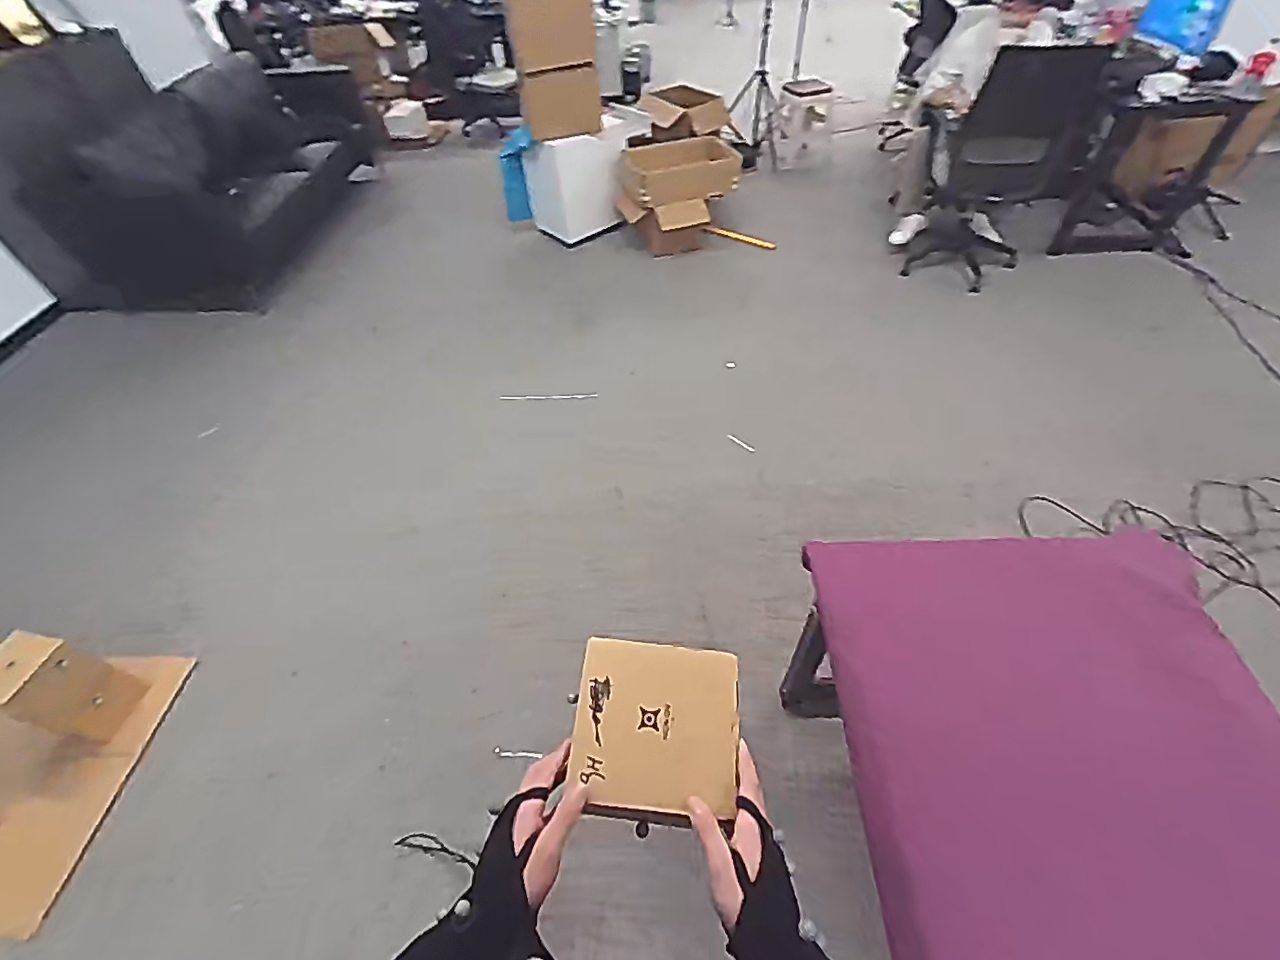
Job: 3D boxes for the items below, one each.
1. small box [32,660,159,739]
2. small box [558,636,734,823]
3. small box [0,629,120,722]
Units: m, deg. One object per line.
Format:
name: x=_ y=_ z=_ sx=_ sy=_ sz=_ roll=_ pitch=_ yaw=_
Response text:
small box: x=-1.592 y=0.642 z=1.602 sx=0.168 sy=0.176 sz=0.179 roll=4 pitch=50 yaw=8
small box: x=0.008 y=0.302 z=0.643 sx=0.179 sy=0.176 sz=0.168 roll=6 pitch=54 yaw=1
small box: x=-1.594 y=0.535 z=1.476 sx=0.168 sy=0.176 sz=0.179 roll=7 pitch=51 yaw=11
